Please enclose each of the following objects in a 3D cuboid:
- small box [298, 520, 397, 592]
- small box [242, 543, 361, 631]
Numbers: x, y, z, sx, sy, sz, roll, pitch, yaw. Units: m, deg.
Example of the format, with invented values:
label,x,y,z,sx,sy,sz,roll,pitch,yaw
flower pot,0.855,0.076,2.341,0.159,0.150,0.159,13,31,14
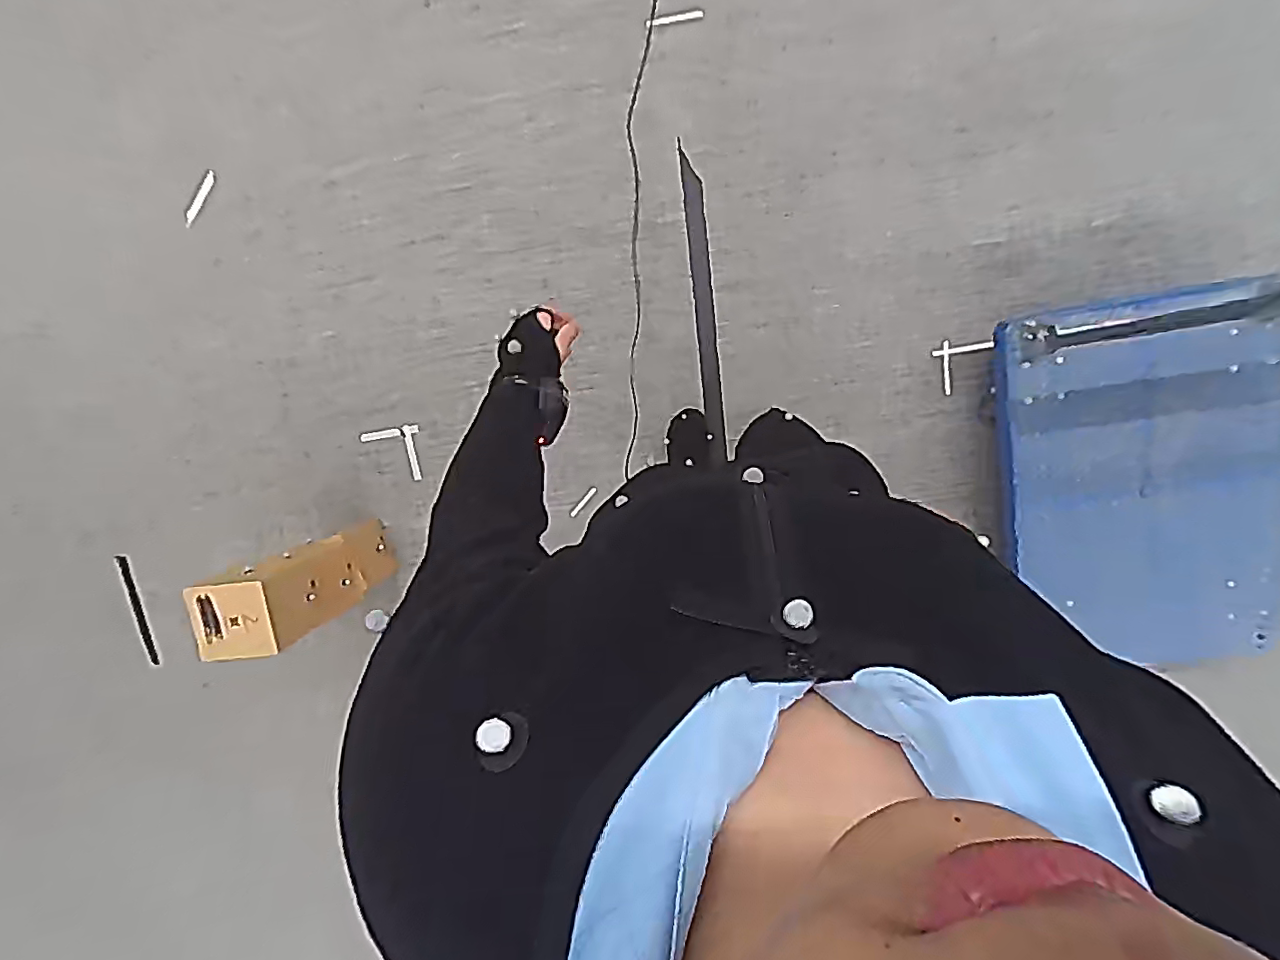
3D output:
label,x,y,z,sx,sy,sz,roll,pitch,yaw
small box,-0.824,0.228,1.516,0.179,0.176,0.168,-19,99,7
small box,-0.841,0.264,1.358,0.179,0.176,0.168,-6,100,5
